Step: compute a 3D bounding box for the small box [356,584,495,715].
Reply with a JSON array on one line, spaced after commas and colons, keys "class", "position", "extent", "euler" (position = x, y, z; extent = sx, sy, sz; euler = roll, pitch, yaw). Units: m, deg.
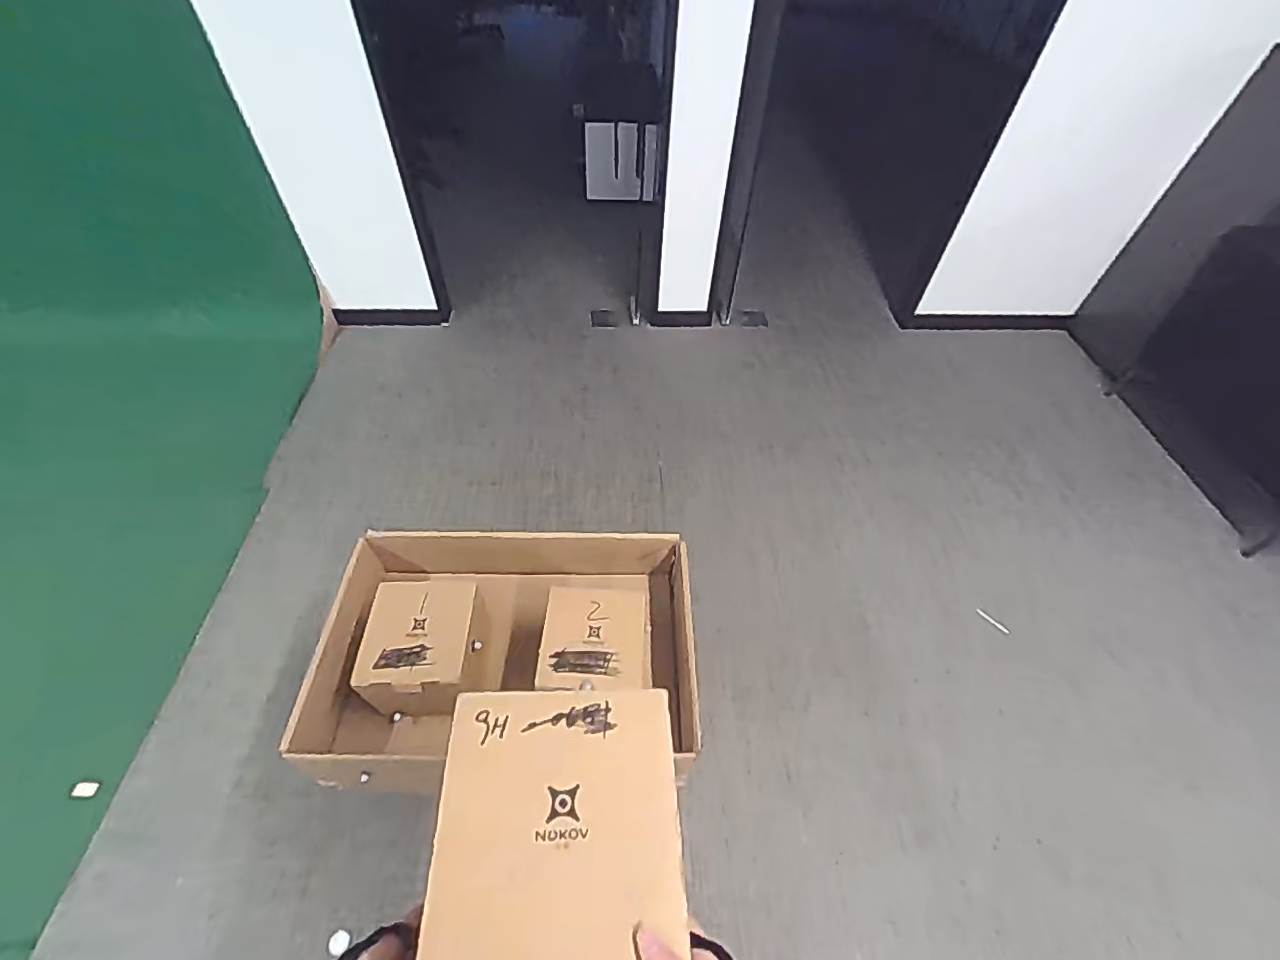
[{"class": "small box", "position": [-0.356, 0.299, 0.938], "extent": [0.168, 0.176, 0.179], "euler": [0, 50, -2]}]

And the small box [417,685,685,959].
[{"class": "small box", "position": [-0.063, 0.281, 0.437], "extent": [0.168, 0.176, 0.179], "euler": [2, 50, -7]}]
